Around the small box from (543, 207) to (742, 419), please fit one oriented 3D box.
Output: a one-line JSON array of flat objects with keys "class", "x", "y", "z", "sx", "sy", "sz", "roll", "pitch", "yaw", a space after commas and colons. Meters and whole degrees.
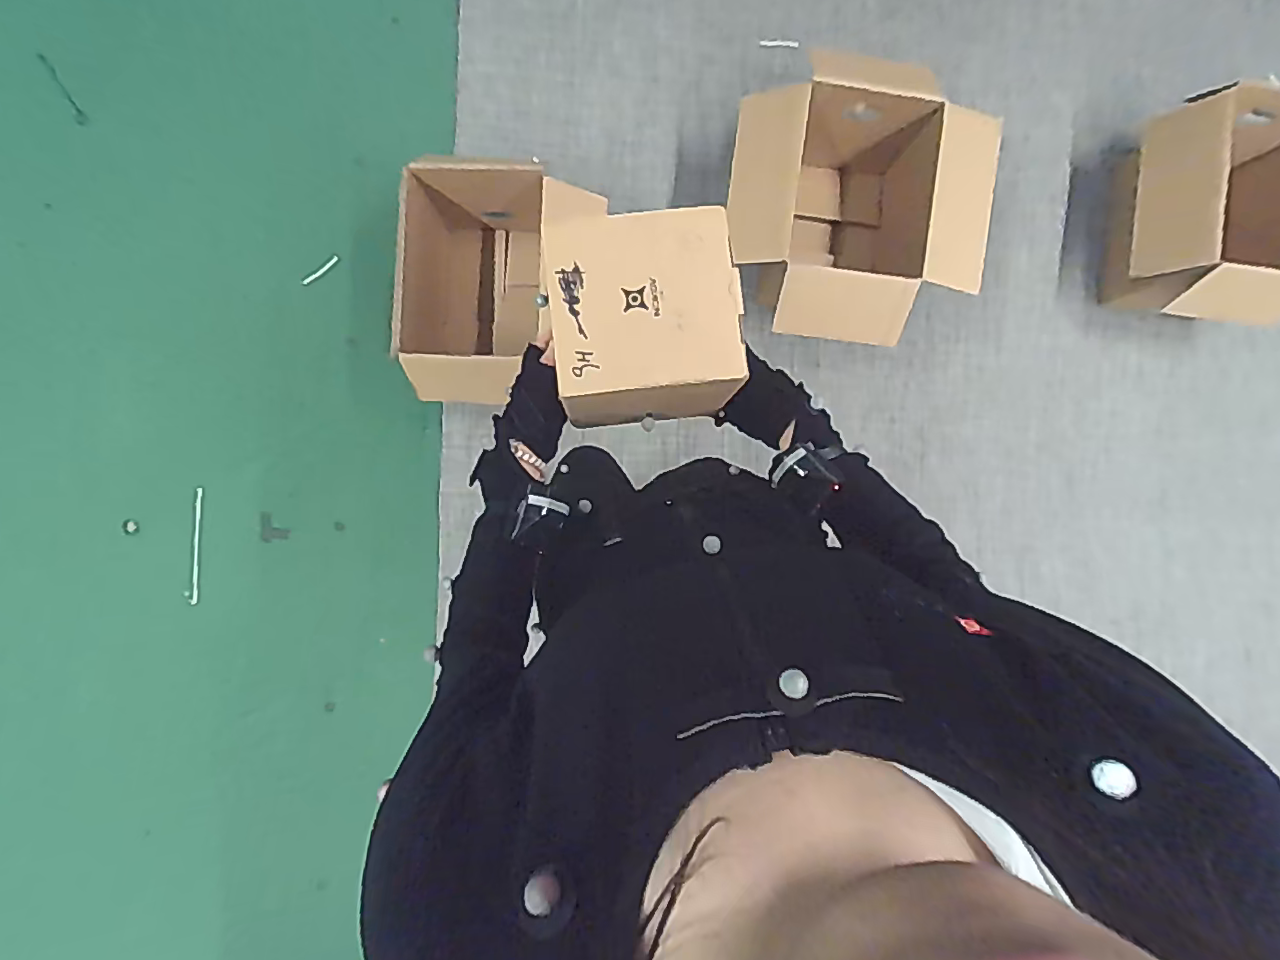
[{"class": "small box", "x": -0.003, "y": -0.164, "z": 0.578, "sx": 0.179, "sy": 0.176, "sz": 0.168, "roll": -5, "pitch": 86, "yaw": -4}]
